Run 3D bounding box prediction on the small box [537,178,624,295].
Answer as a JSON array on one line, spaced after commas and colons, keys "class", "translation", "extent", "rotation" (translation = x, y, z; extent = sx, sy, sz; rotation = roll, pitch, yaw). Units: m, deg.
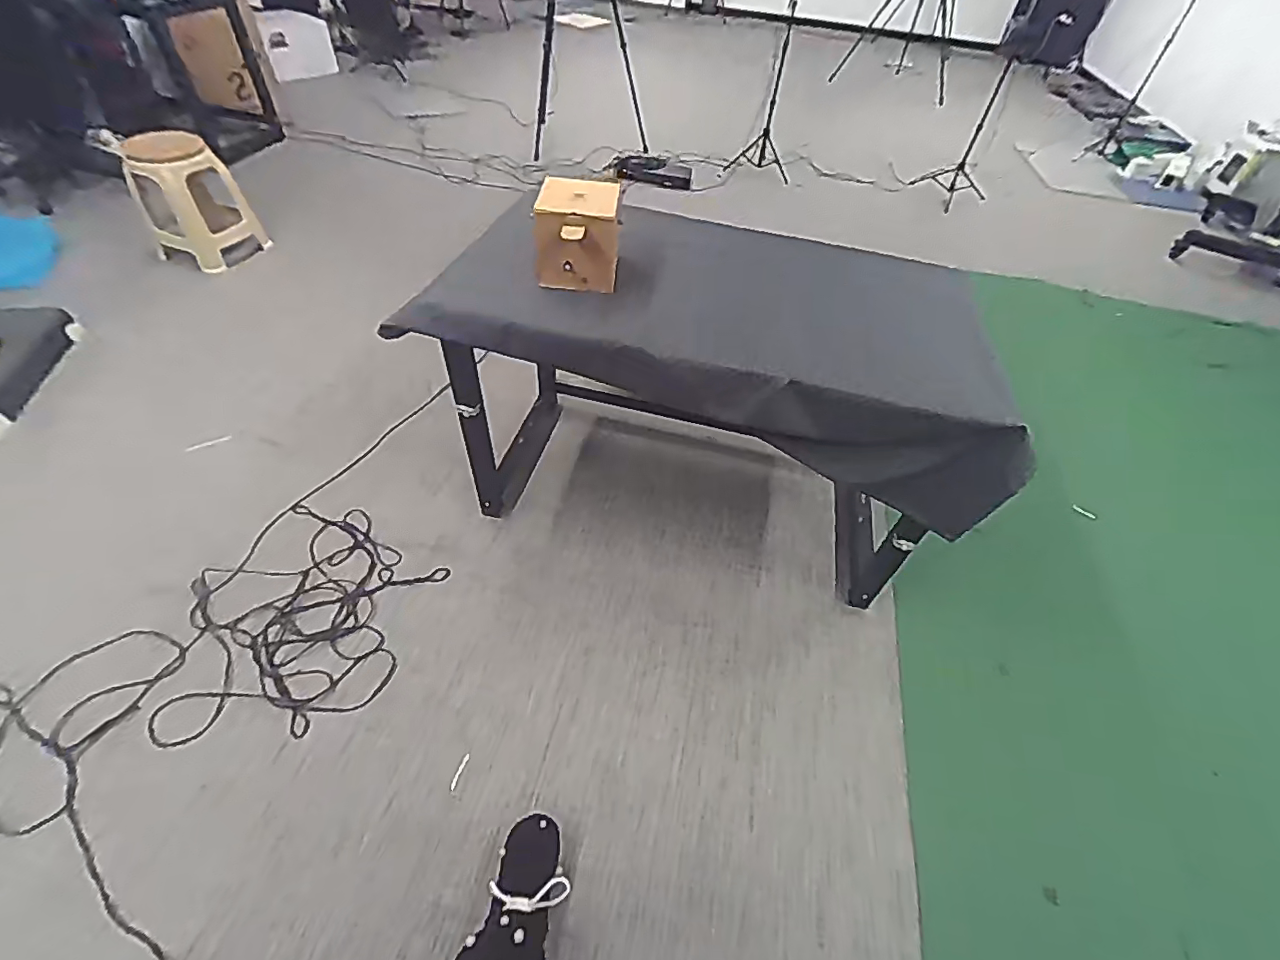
[{"class": "small box", "translation": [-0.129, -0.533, 1.188], "extent": [0.168, 0.176, 0.179], "rotation": [5, 49, -2]}]
